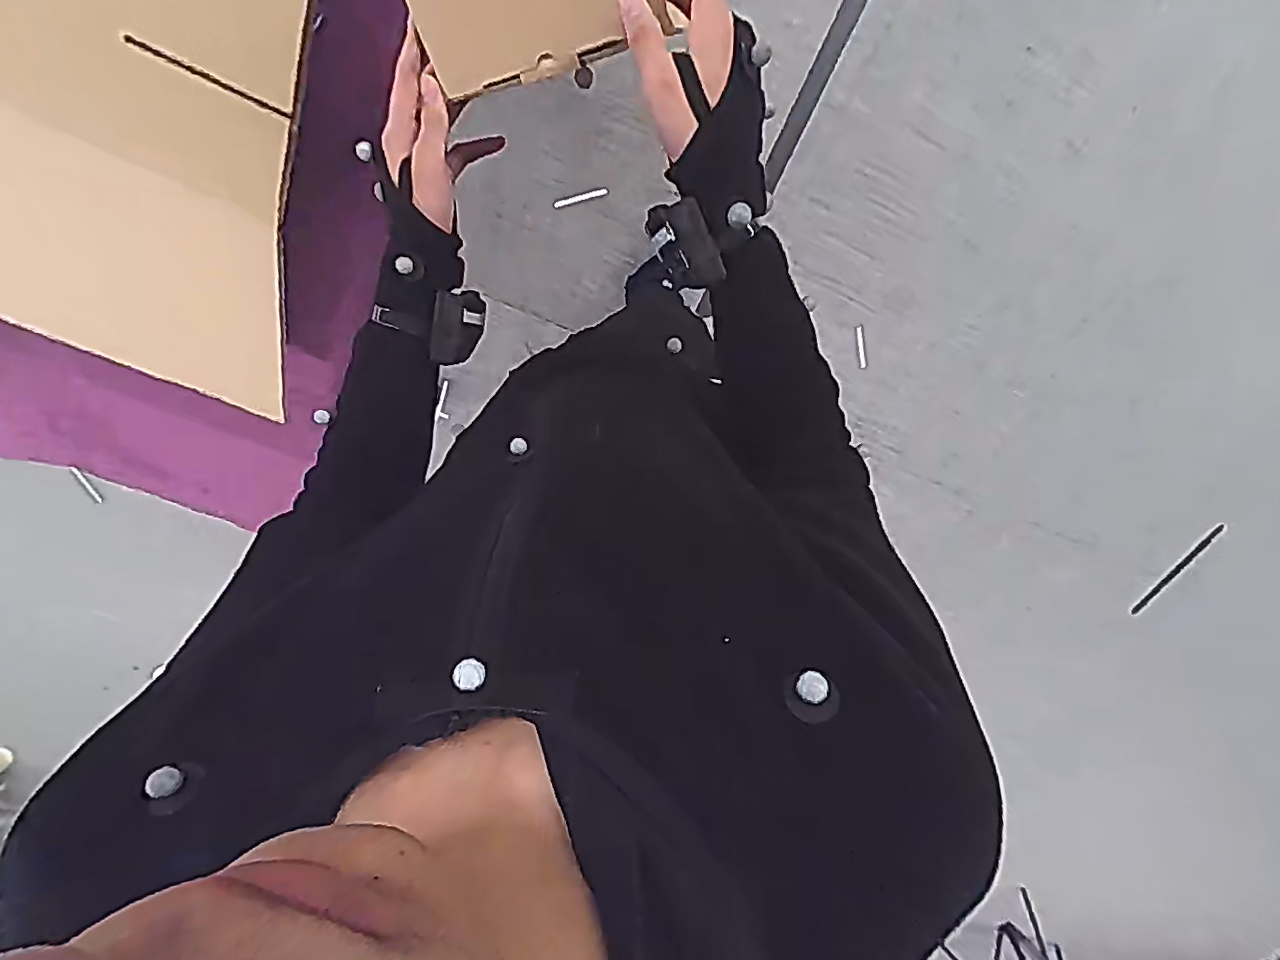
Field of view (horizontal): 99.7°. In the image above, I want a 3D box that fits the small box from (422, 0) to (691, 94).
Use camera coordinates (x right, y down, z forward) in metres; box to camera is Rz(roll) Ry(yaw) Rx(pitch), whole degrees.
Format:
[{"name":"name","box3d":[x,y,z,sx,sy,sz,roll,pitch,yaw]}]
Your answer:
[{"name":"small box","box3d":[-0.063,-0.408,0.382,0.168,0.176,0.179,-5,129,17]}]
